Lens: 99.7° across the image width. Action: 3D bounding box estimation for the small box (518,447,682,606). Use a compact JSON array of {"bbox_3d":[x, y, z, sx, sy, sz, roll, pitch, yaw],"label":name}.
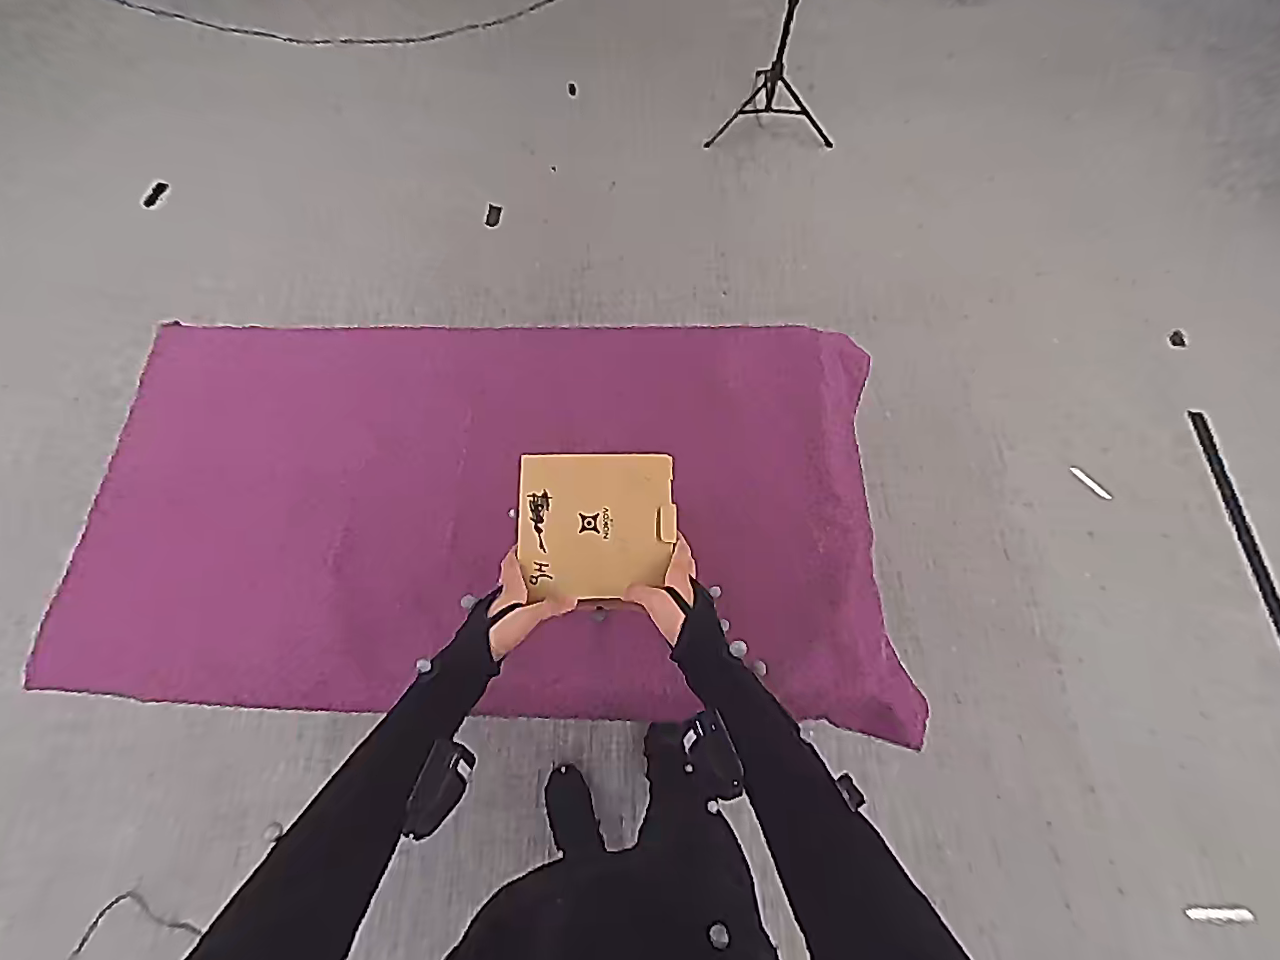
[{"bbox_3d":[-0.049,0.065,0.671,0.179,0.176,0.168,0,73,-4],"label":"small box"}]
